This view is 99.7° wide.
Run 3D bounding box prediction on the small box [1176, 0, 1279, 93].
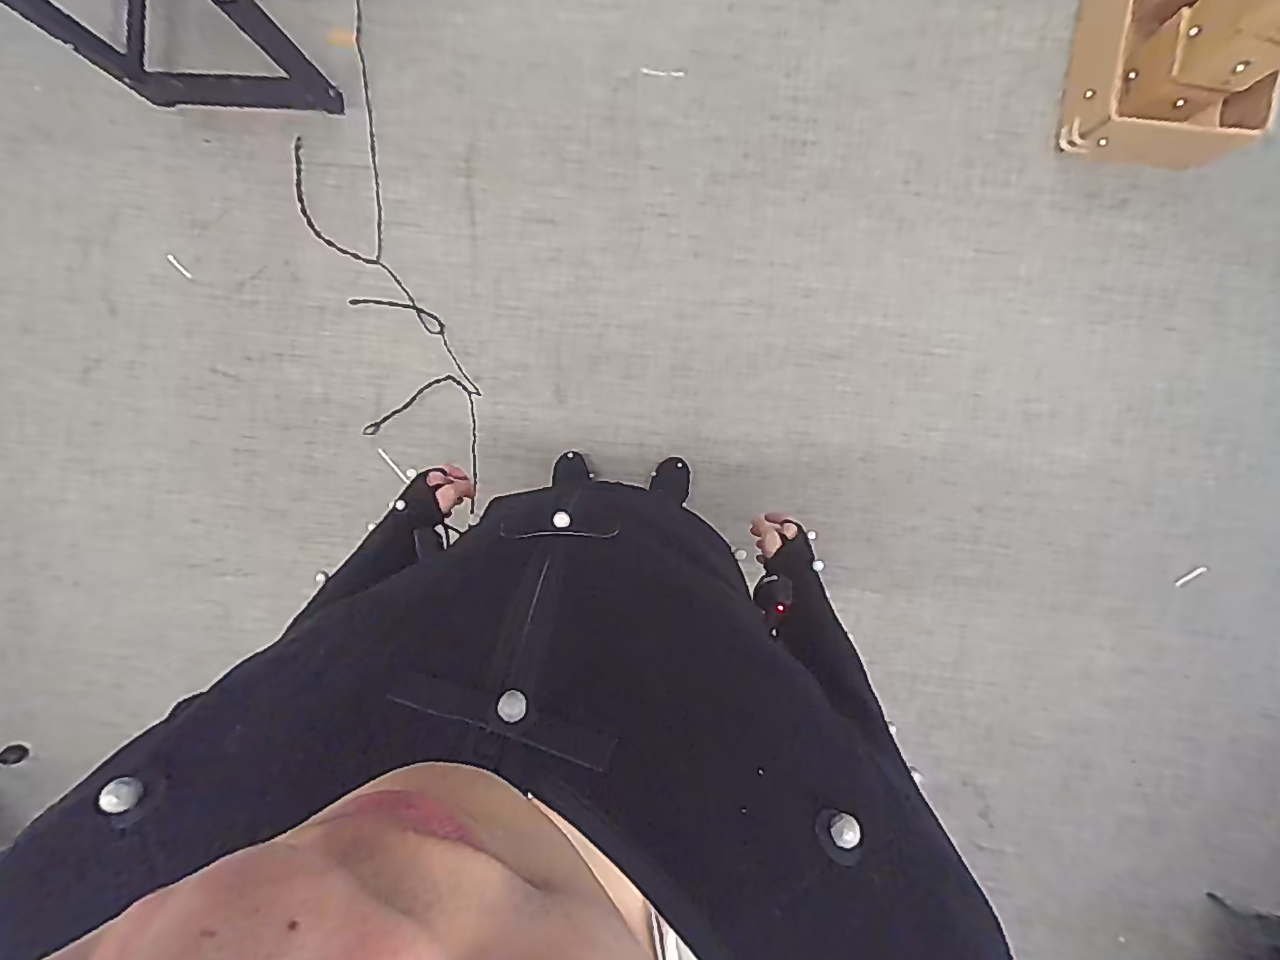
[{"bbox_3d":[1.379,-1.019,1.221,0.168,0.176,0.179,10,94,2],"label":"small box"}]
